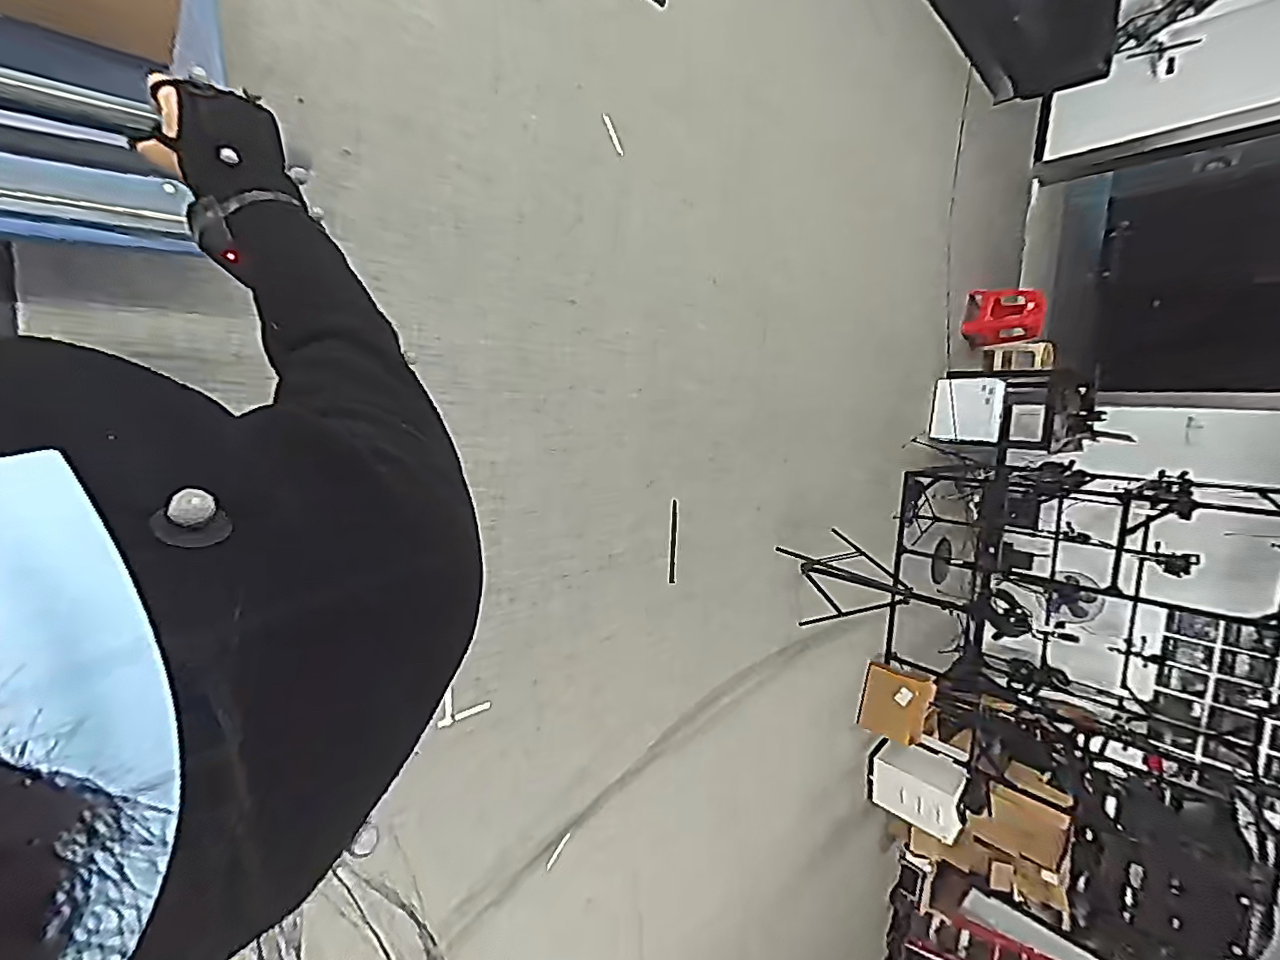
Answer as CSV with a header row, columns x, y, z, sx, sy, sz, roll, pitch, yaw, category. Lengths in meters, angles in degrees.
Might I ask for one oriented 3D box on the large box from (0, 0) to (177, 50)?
x,y,z,sx,sy,sz,roll,pitch,yaw,category
-0.883,-0.855,0.694,0.408,0.320,0.320,-10,104,-42,large box
